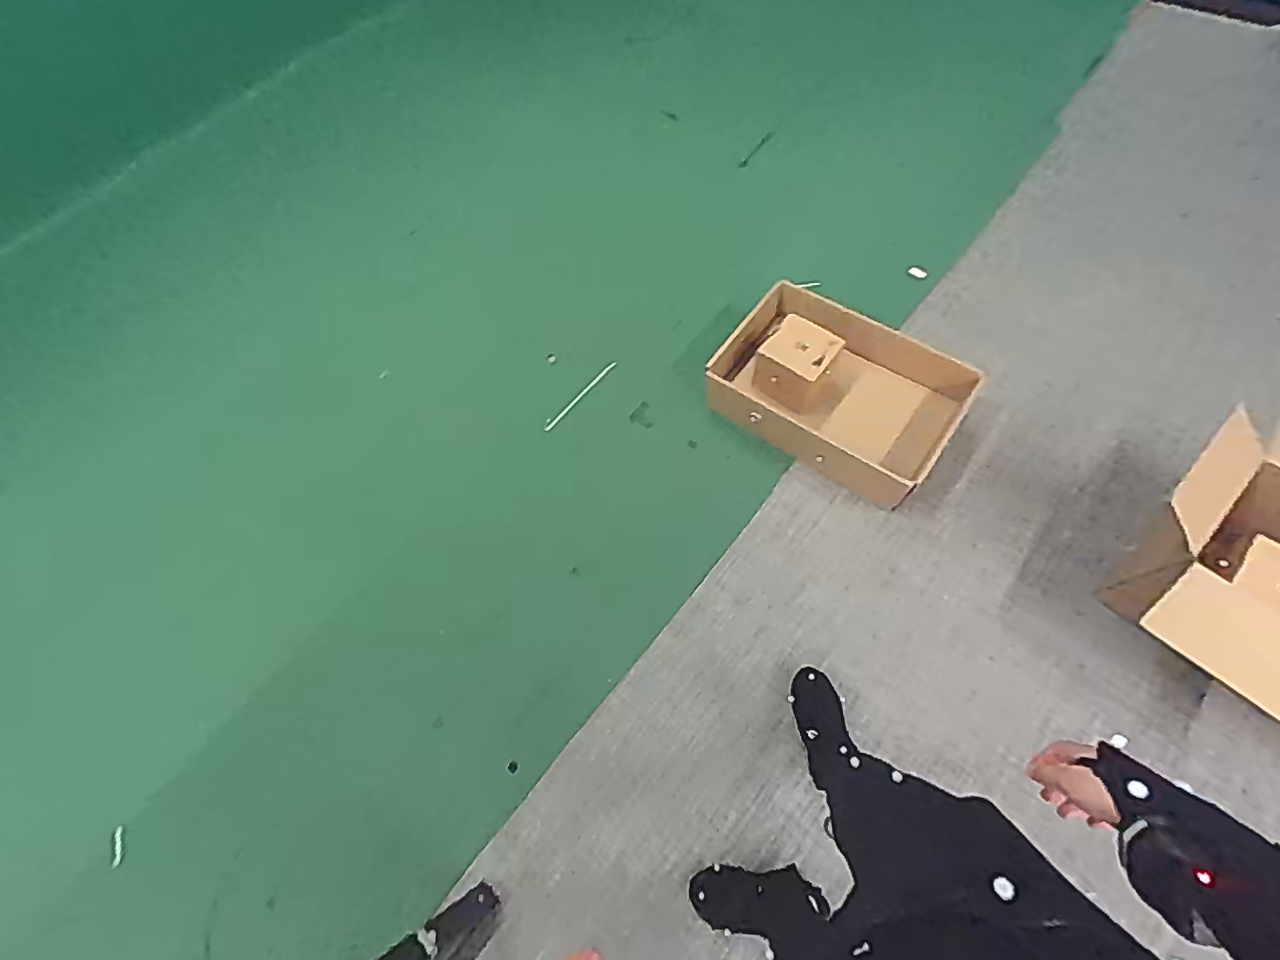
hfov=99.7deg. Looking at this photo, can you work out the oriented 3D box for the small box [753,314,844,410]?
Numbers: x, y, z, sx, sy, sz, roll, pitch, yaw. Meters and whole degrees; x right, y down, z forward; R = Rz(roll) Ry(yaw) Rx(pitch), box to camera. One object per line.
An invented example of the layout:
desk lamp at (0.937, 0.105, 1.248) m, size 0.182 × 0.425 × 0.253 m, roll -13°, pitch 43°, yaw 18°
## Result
small box at (0.436, -0.326, 1.522) m, size 0.179 × 0.176 × 0.168 m, roll 35°, pitch 72°, yaw 19°
